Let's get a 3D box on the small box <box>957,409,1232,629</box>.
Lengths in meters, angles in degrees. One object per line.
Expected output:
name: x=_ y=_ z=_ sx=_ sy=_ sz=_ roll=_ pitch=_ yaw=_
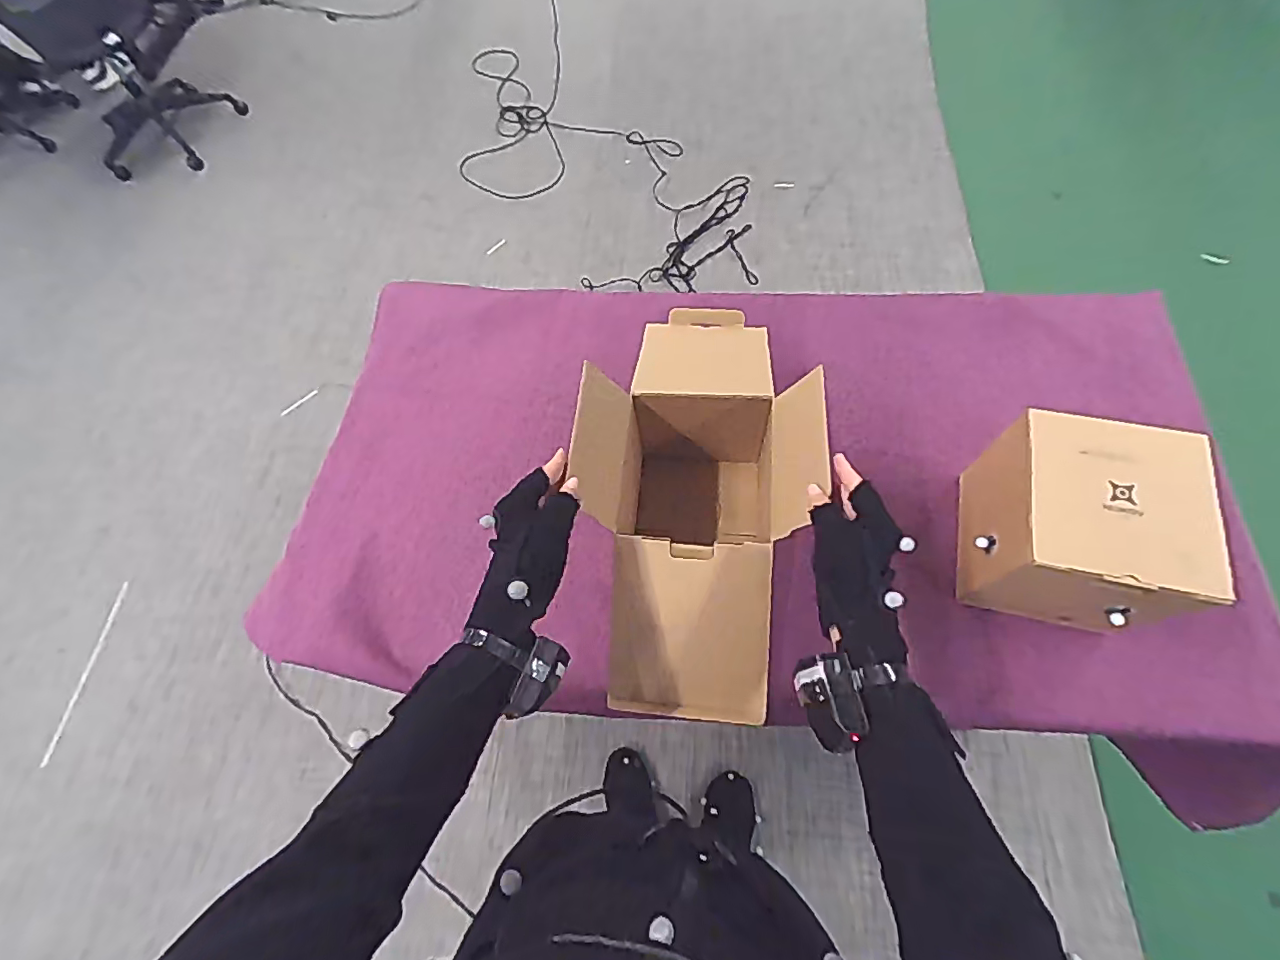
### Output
small box: x=0.470 y=0.050 z=0.592 sx=0.168 sy=0.176 sz=0.179 roll=12 pitch=66 yaw=11
